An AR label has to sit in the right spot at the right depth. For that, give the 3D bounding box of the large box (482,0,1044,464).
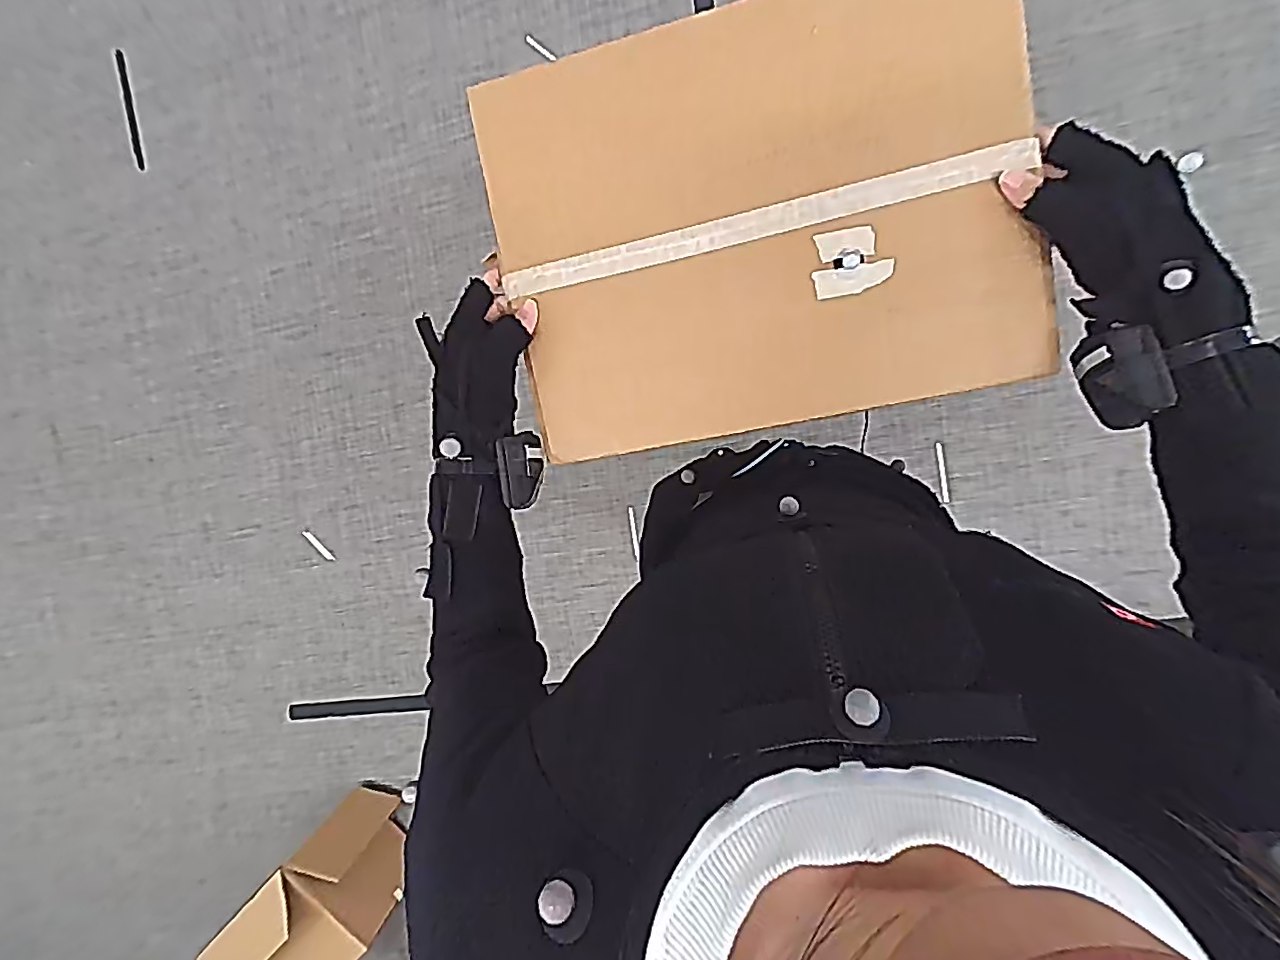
[{"bbox_3d":[0.109,-0.219,0.578,0.408,0.320,0.320,-11,97,9],"label":"large box"}]
